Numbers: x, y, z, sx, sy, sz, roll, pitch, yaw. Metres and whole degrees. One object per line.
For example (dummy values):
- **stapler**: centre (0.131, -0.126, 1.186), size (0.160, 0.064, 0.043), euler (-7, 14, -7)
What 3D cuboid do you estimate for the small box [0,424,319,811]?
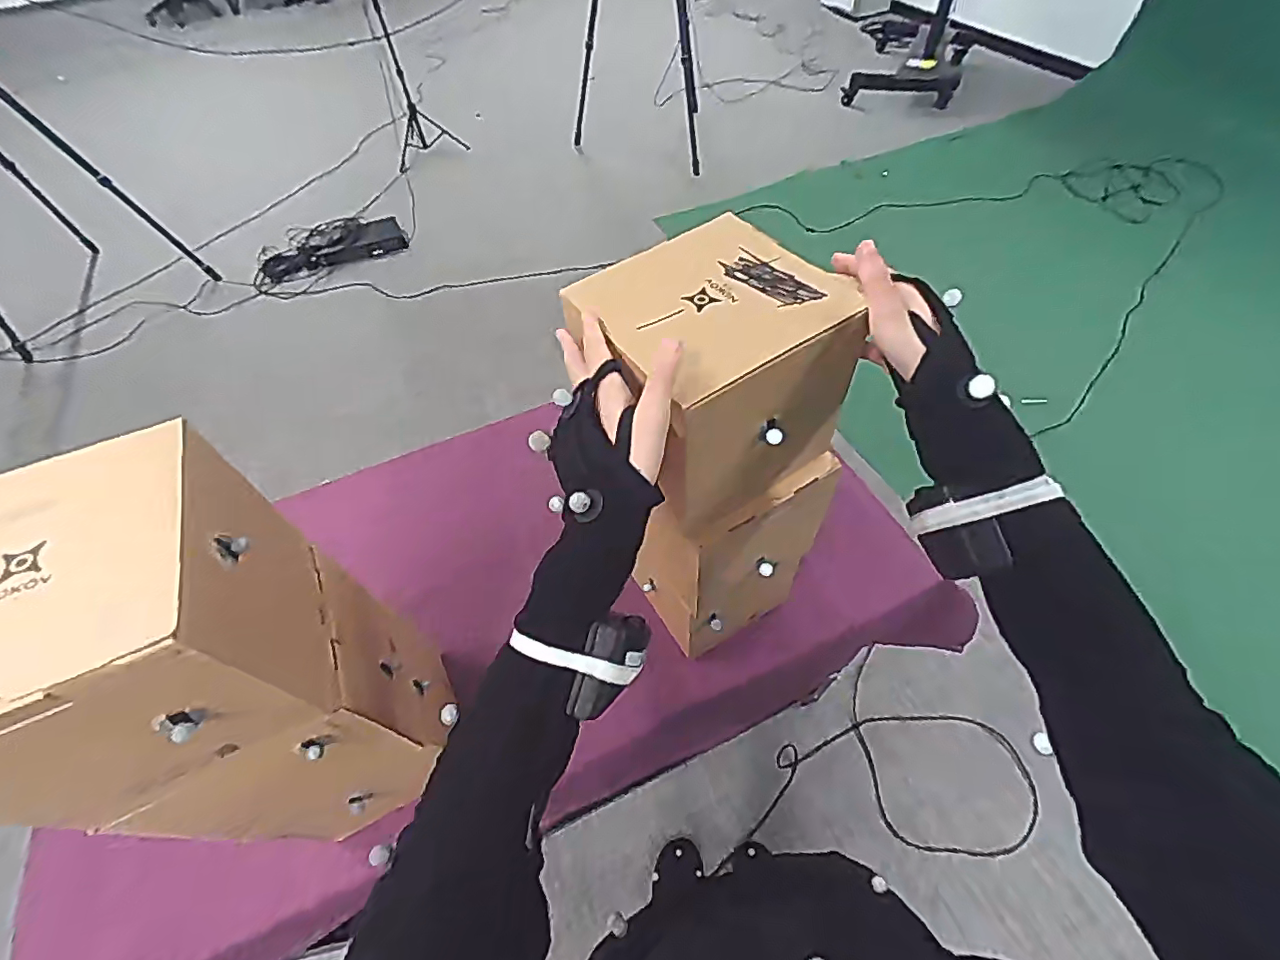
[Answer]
- **small box**: centre (-0.347, 0.099, 0.369), size (0.168, 0.176, 0.179), euler (-22, 55, -13)

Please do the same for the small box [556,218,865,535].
- **small box**: centre (0.053, -0.087, 0.468), size (0.179, 0.176, 0.168), euler (-30, 57, -16)

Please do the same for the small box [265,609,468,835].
- **small box**: centre (-0.329, 0.288, 0.634), size (0.179, 0.176, 0.168), euler (-25, 57, -13)

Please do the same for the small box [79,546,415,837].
- **small box**: centre (-0.338, 0.198, 0.498), size (0.179, 0.176, 0.168), euler (-24, 55, -14)

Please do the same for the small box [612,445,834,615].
- **small box**: centre (0.076, 0.015, 0.597), size (0.168, 0.176, 0.179), euler (-28, 57, -15)
